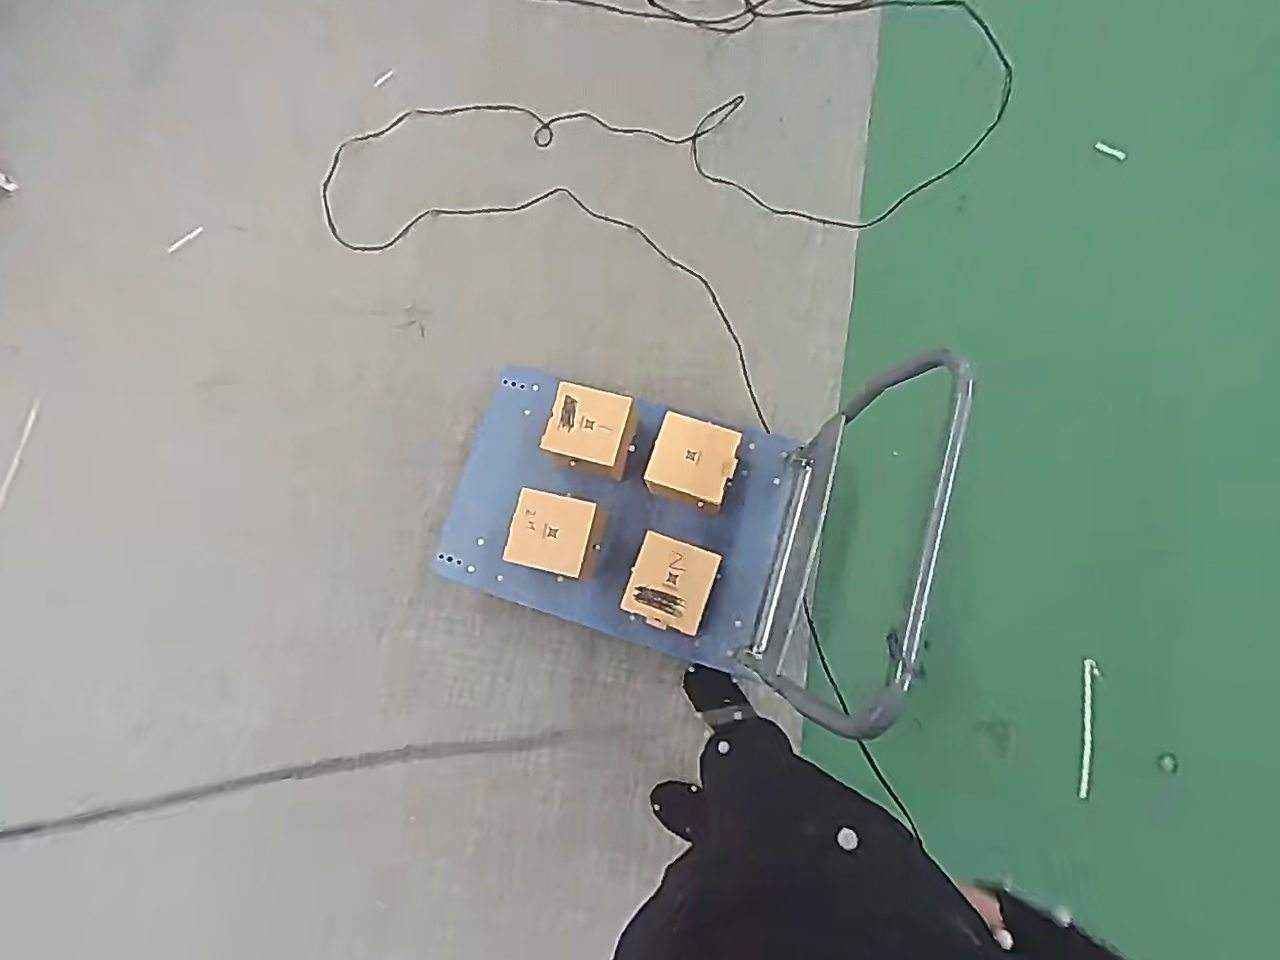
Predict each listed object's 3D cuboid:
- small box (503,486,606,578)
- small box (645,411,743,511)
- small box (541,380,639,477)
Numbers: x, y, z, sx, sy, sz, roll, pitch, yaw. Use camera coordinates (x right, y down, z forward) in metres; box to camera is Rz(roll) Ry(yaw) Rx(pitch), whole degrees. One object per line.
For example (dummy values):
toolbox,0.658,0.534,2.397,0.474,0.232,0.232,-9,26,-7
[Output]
small box,-0.186,0.125,1.242,0.179,0.176,0.168,13,79,8
small box,0.123,-0.037,1.247,0.179,0.176,0.168,18,81,8
small box,-0.110,-0.115,1.283,0.179,0.176,0.168,15,81,7
